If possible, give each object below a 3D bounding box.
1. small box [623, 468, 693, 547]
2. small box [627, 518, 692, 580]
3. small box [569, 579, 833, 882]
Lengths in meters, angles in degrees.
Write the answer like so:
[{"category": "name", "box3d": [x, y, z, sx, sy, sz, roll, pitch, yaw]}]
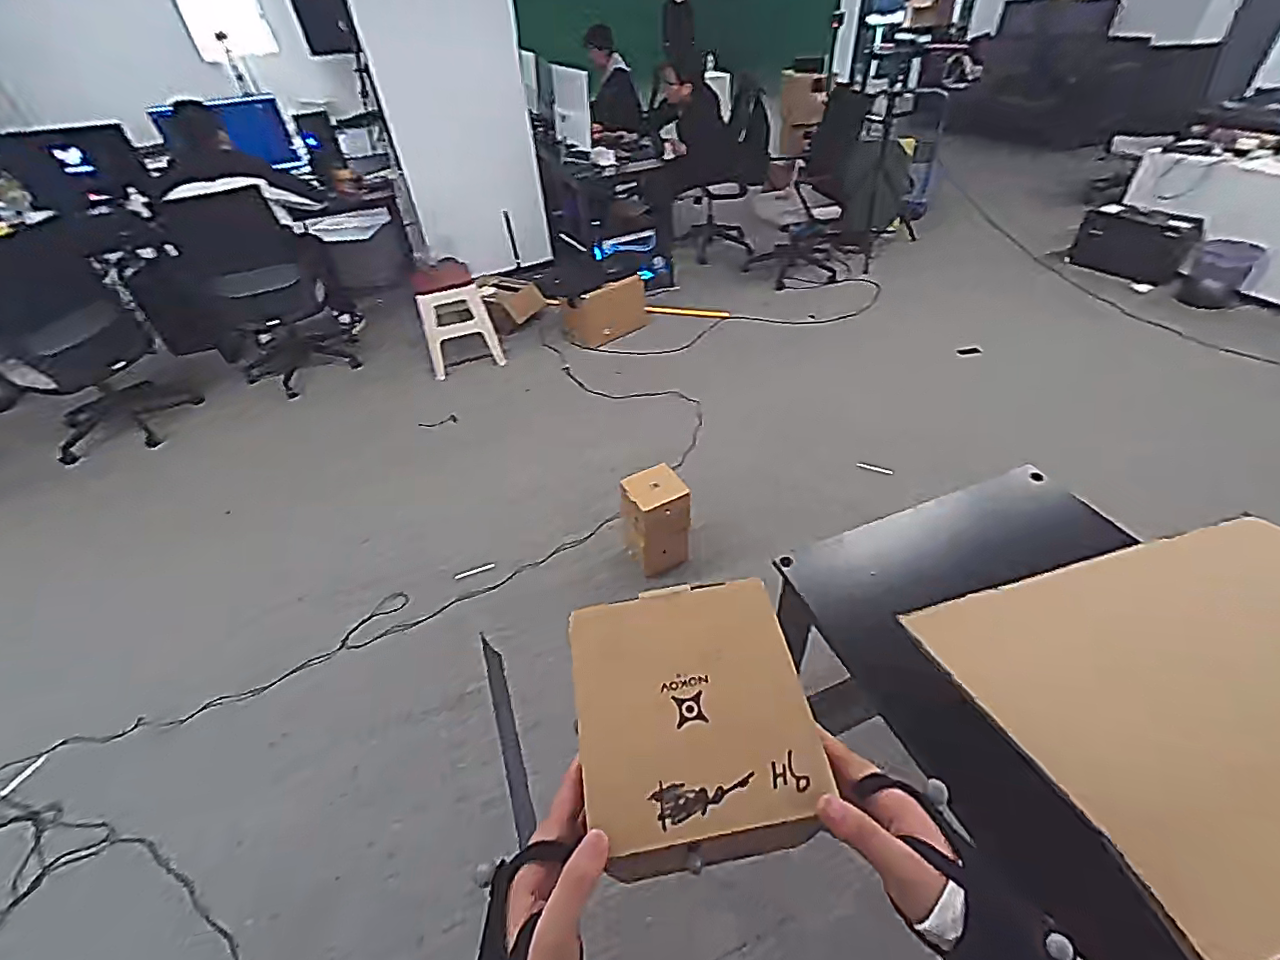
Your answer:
[{"category": "small box", "box3d": [0.061, 0.094, 1.788, 0.179, 0.176, 0.168, -21, 45, -19]}, {"category": "small box", "box3d": [0.067, 0.217, 1.894, 0.179, 0.176, 0.168, -20, 44, -15]}, {"category": "small box", "box3d": [0.038, 0.213, 0.459, 0.168, 0.176, 0.179, -10, 49, -3]}]
